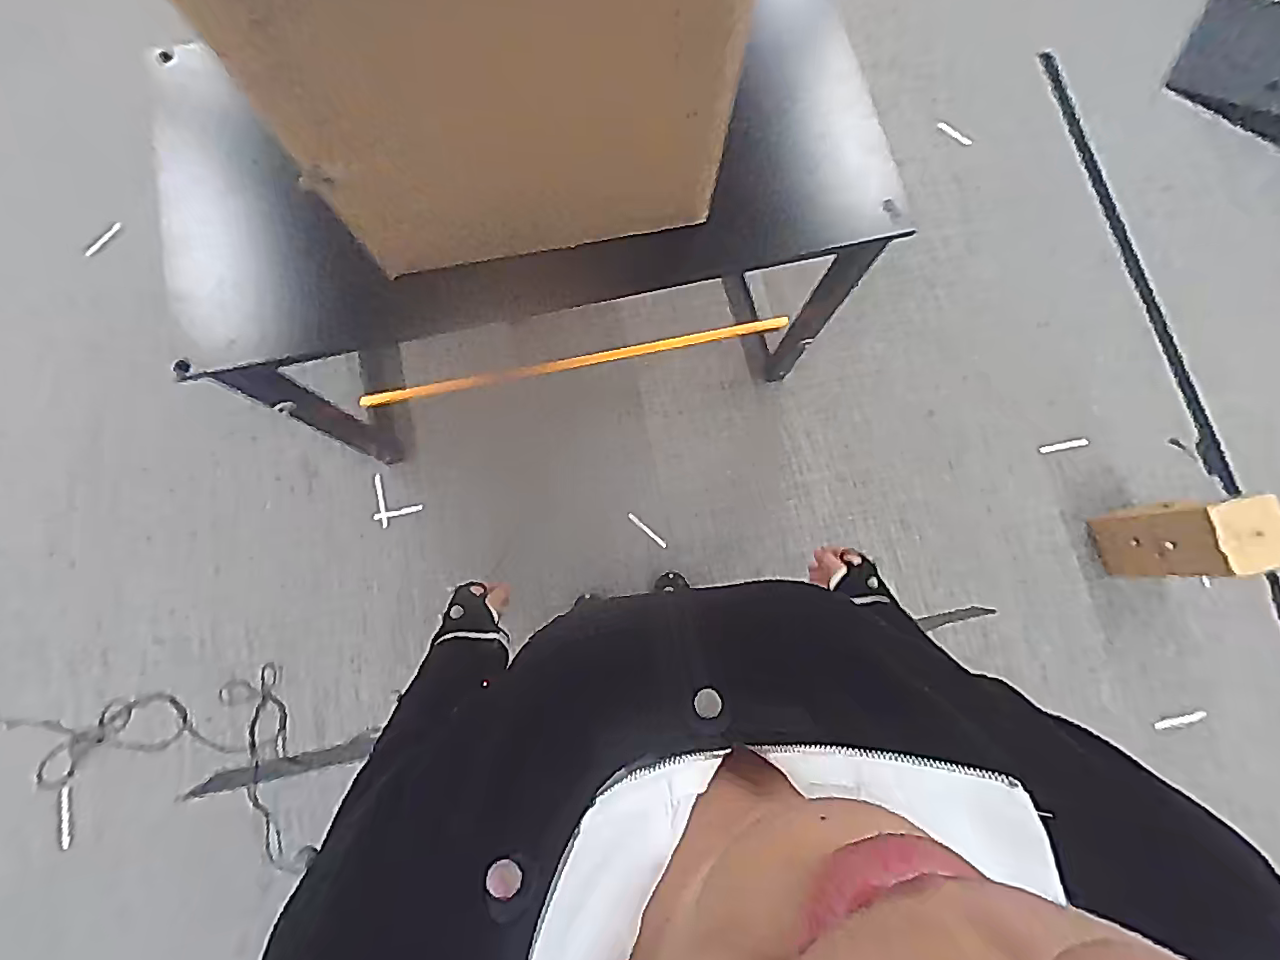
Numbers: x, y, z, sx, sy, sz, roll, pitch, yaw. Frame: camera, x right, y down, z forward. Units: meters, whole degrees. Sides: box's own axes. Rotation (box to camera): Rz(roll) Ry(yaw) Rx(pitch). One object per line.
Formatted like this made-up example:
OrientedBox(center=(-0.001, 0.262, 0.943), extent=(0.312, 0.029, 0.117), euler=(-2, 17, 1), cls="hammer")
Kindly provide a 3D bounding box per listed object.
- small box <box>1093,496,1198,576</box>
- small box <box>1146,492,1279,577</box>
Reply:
OrientedBox(center=(1.402, 0.160, 1.476), extent=(0.168, 0.176, 0.179), euler=(-16, 81, -4), cls="small box")
OrientedBox(center=(1.408, 0.135, 1.313), extent=(0.179, 0.176, 0.168), euler=(-12, 80, -3), cls="small box")
